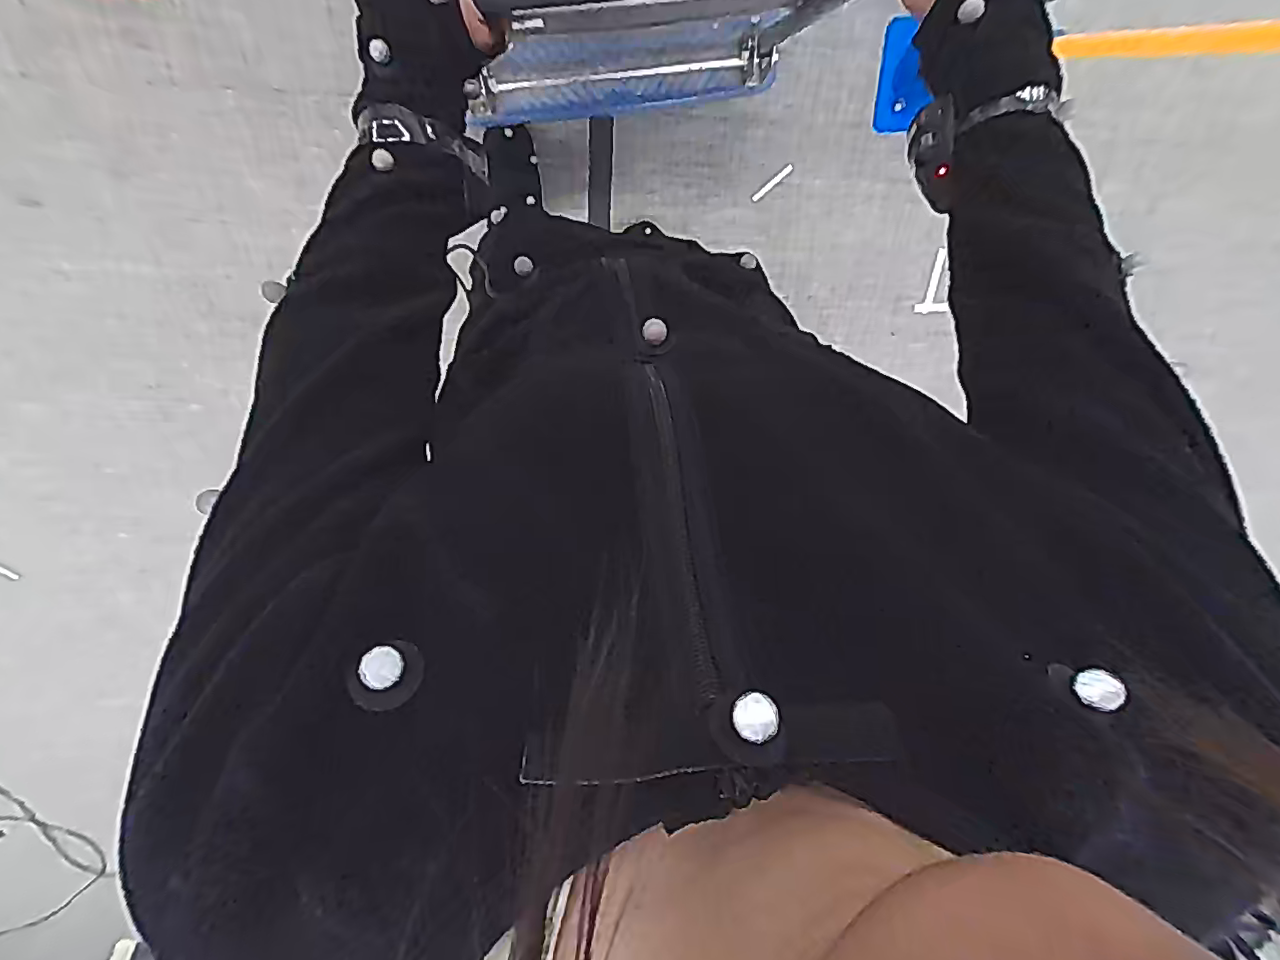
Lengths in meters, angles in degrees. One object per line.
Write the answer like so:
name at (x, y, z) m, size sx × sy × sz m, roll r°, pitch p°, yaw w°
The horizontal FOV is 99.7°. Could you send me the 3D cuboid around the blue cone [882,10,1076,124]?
blue cone at (0.629, -0.783, 0.995) m, size 0.193 × 0.380 × 0.192 m, roll -5°, pitch 120°, yaw -6°
